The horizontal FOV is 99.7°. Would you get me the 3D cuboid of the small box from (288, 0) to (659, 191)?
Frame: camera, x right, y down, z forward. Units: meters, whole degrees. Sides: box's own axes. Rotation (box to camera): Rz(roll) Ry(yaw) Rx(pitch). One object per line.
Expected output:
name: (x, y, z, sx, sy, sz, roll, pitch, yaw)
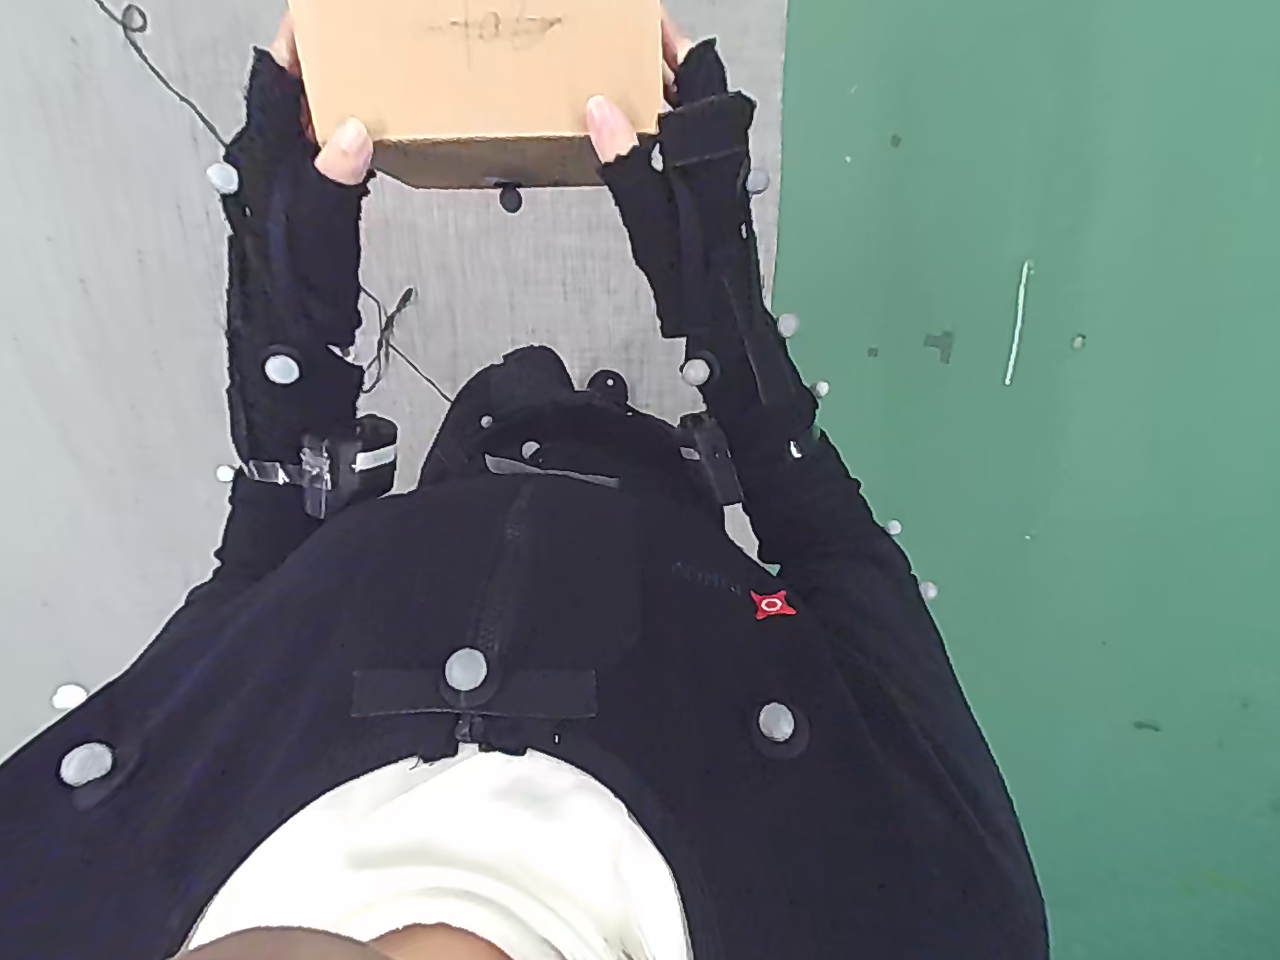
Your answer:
small box: (-0.081, -0.276, 0.306, 0.168, 0.176, 0.179, -4, 111, -3)
